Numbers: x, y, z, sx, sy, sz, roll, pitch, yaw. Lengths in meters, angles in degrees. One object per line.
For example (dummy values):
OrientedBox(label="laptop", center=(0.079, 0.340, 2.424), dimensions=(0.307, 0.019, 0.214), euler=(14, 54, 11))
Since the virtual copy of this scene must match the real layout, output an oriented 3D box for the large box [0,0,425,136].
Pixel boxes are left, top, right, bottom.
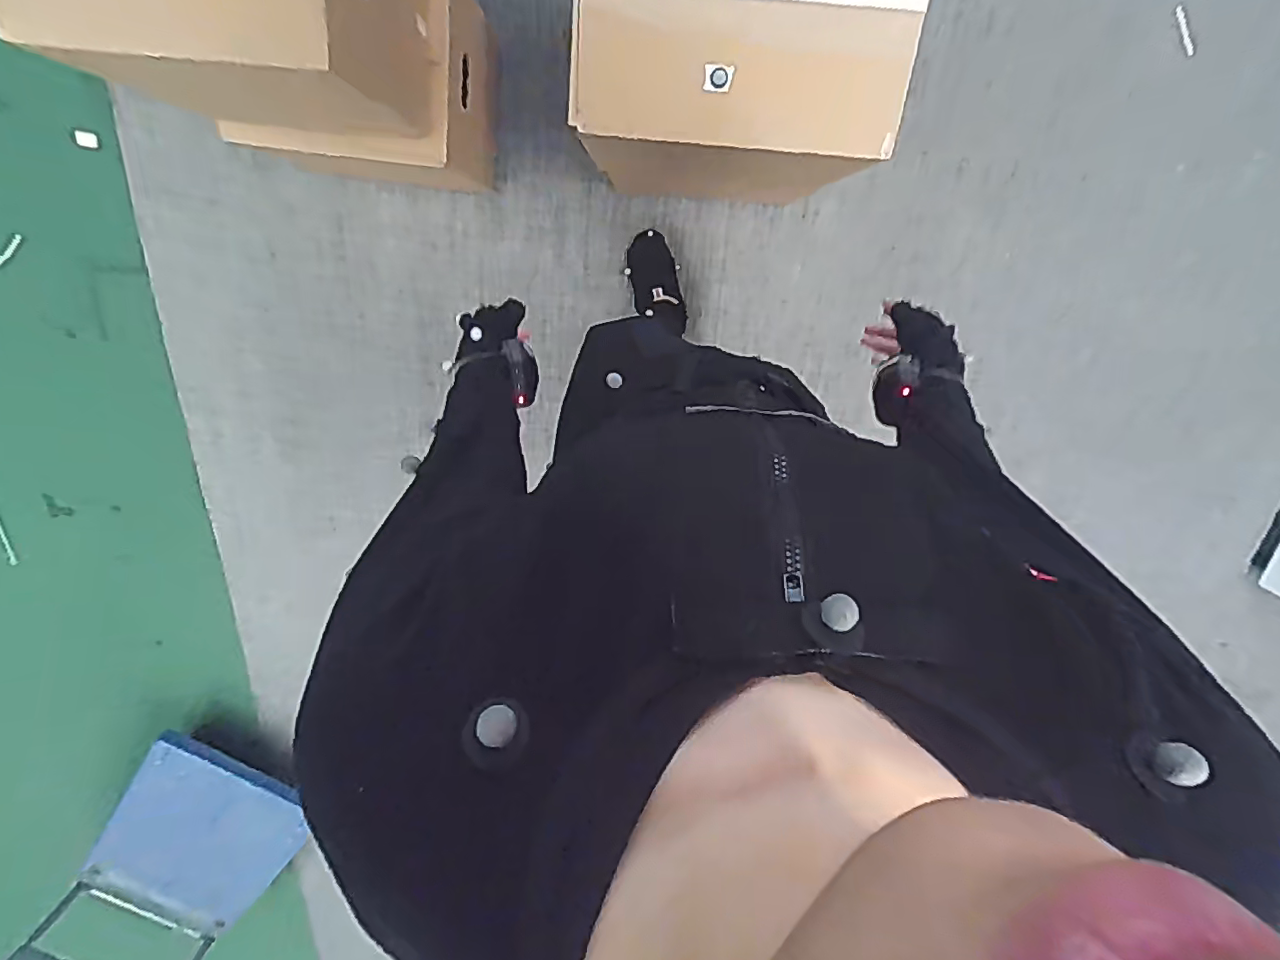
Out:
OrientedBox(label="large box", center=(-0.555, -0.708, 0.746), dimensions=(0.408, 0.320, 0.320), euler=(5, 108, -1))
